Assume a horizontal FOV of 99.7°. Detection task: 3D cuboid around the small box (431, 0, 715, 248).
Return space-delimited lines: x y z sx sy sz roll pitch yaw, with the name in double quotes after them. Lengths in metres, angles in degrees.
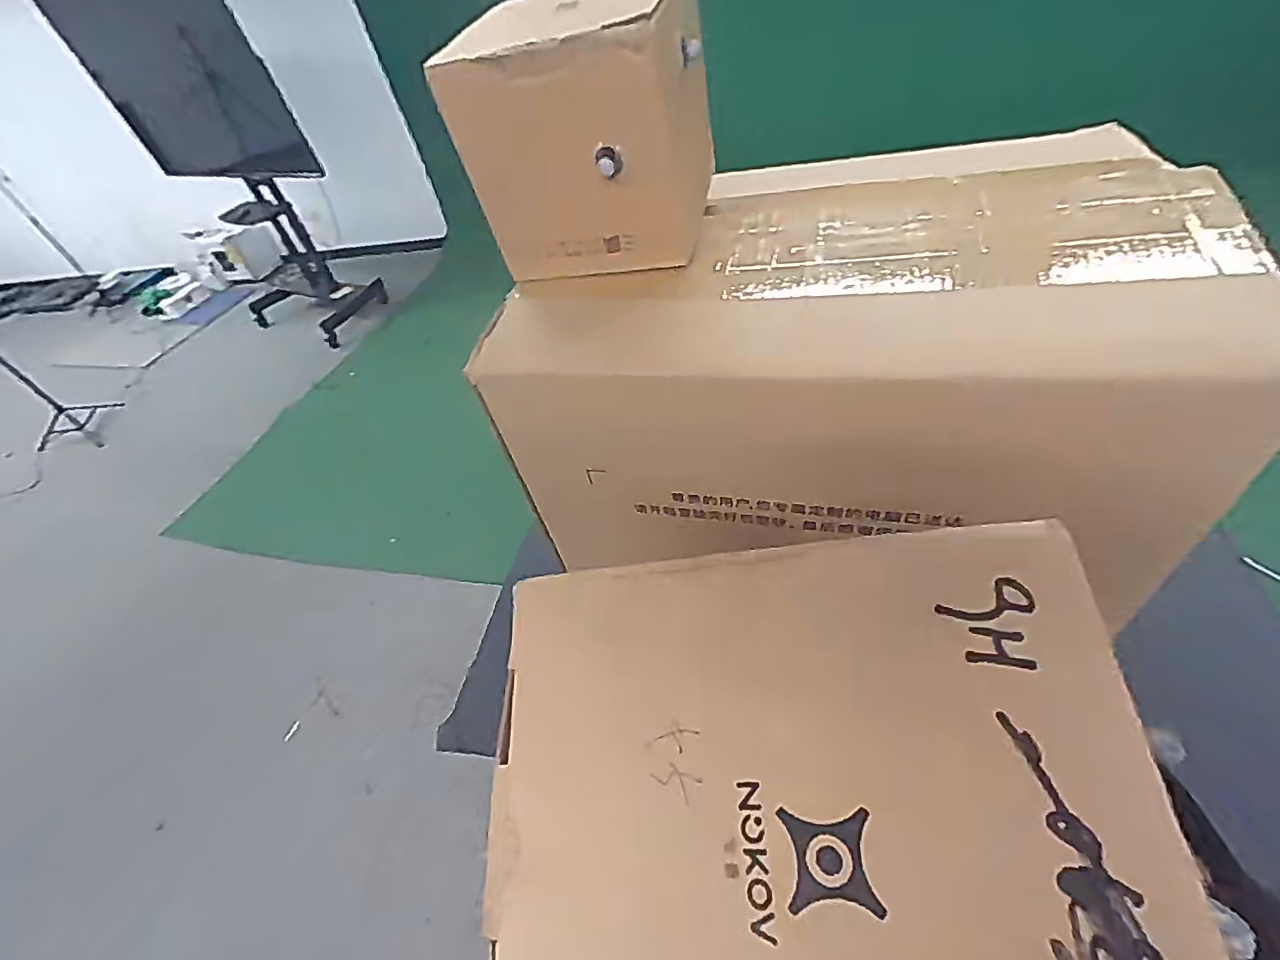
-0.032 -0.309 0.450 0.168 0.176 0.179 3 51 15 "small box"
